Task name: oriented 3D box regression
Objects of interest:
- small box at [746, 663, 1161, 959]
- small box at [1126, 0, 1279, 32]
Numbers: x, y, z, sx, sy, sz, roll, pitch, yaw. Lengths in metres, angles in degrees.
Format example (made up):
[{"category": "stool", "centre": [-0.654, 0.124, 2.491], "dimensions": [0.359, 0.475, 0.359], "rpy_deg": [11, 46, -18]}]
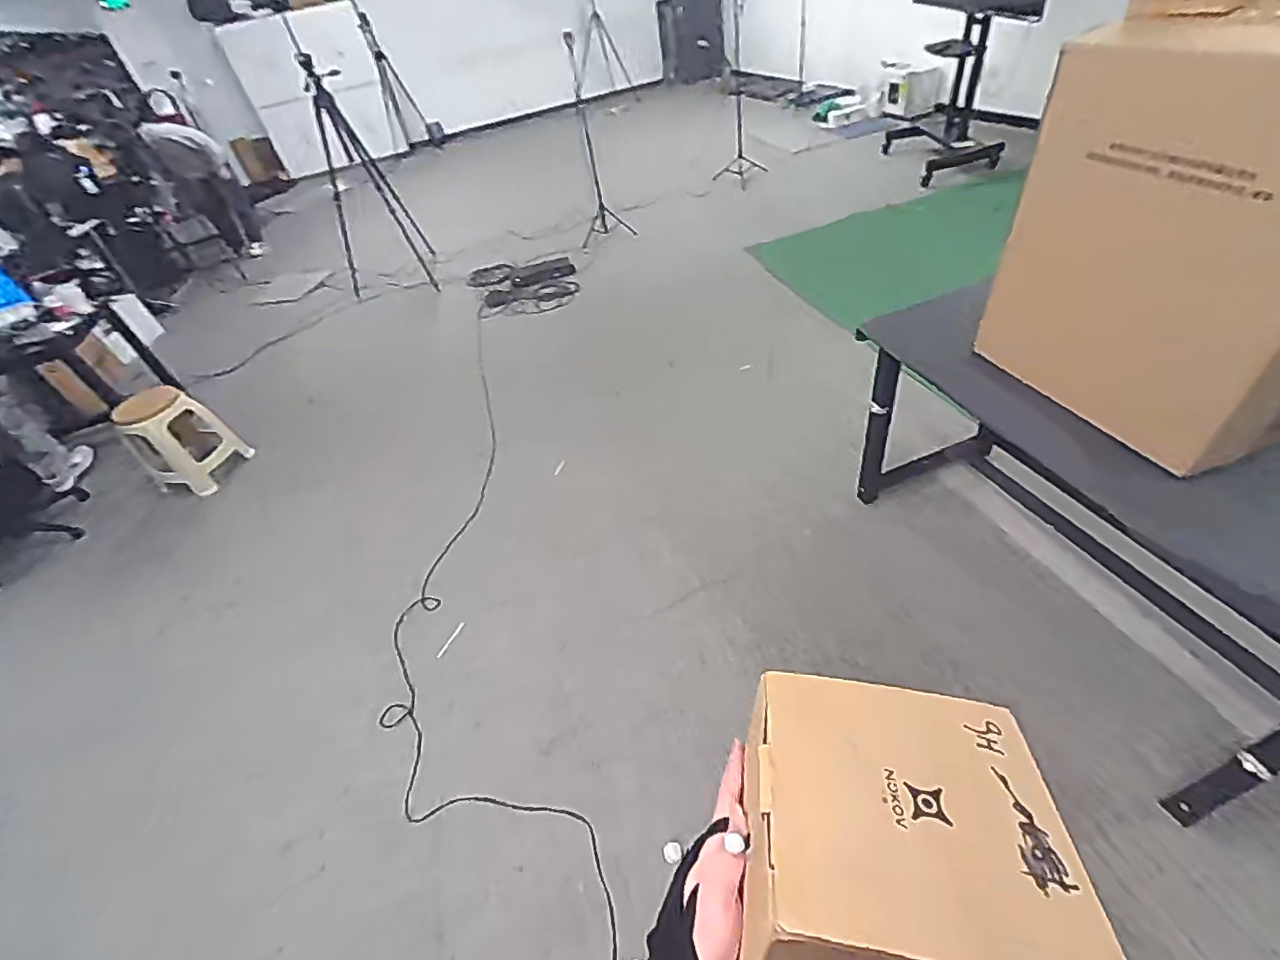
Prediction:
[{"category": "small box", "centre": [0.165, 0.253, 0.358], "dimensions": [0.179, 0.176, 0.168], "rpy_deg": [6, 31, 7]}, {"category": "small box", "centre": [0.940, -0.845, 0.867], "dimensions": [0.179, 0.176, 0.168], "rpy_deg": [-22, 43, -6]}]
